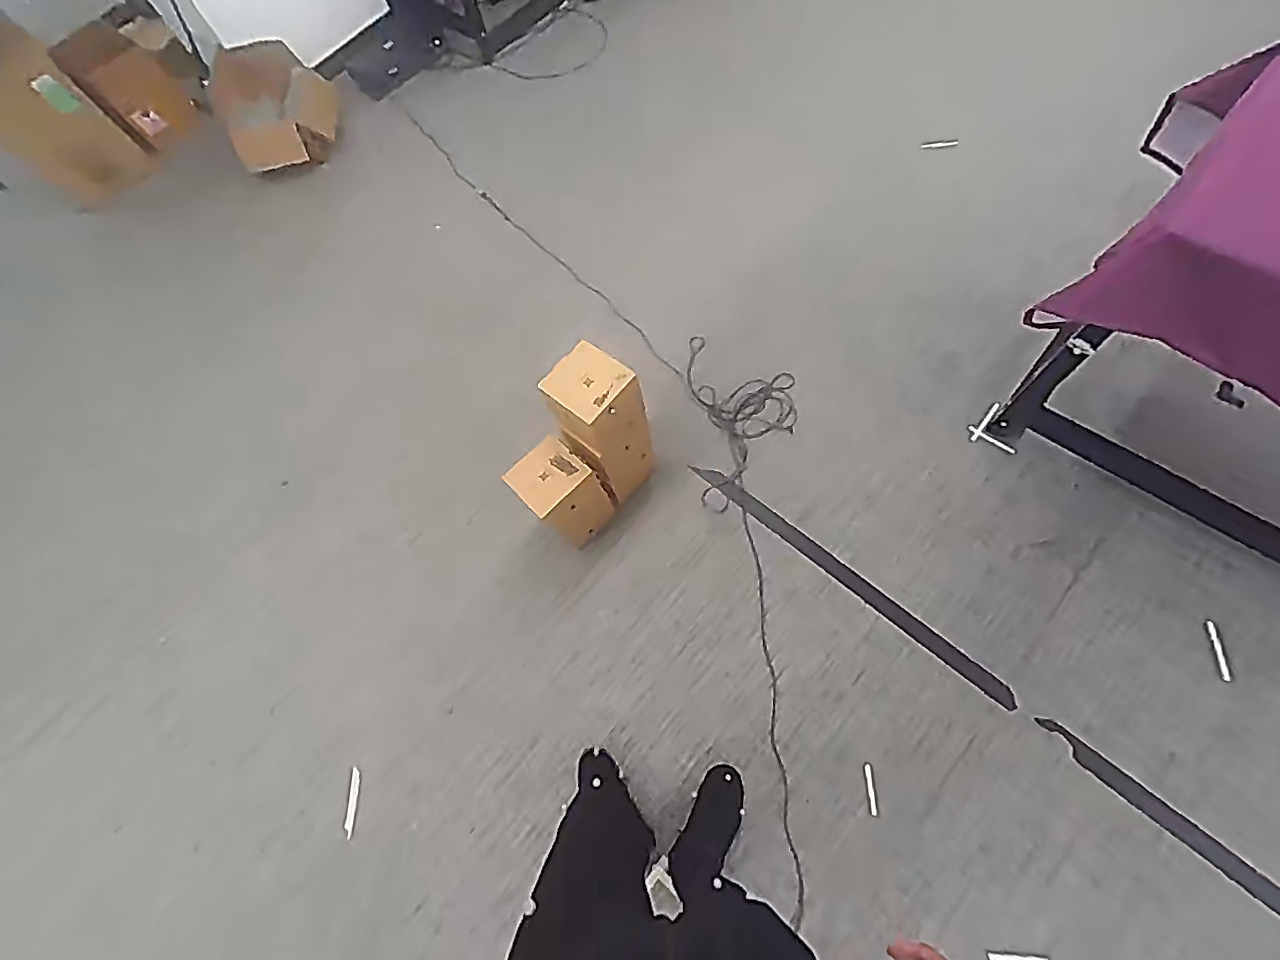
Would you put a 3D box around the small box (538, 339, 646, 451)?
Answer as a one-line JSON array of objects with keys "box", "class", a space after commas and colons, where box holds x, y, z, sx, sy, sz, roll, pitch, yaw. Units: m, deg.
[{"box": [-0.109, -0.199, 1.306, 0.179, 0.176, 0.168, 37, 78, 22], "class": "small box"}]

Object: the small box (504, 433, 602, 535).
[{"box": [-0.216, 0.016, 1.415, 0.179, 0.176, 0.168, -44, 68, -8], "class": "small box"}]
